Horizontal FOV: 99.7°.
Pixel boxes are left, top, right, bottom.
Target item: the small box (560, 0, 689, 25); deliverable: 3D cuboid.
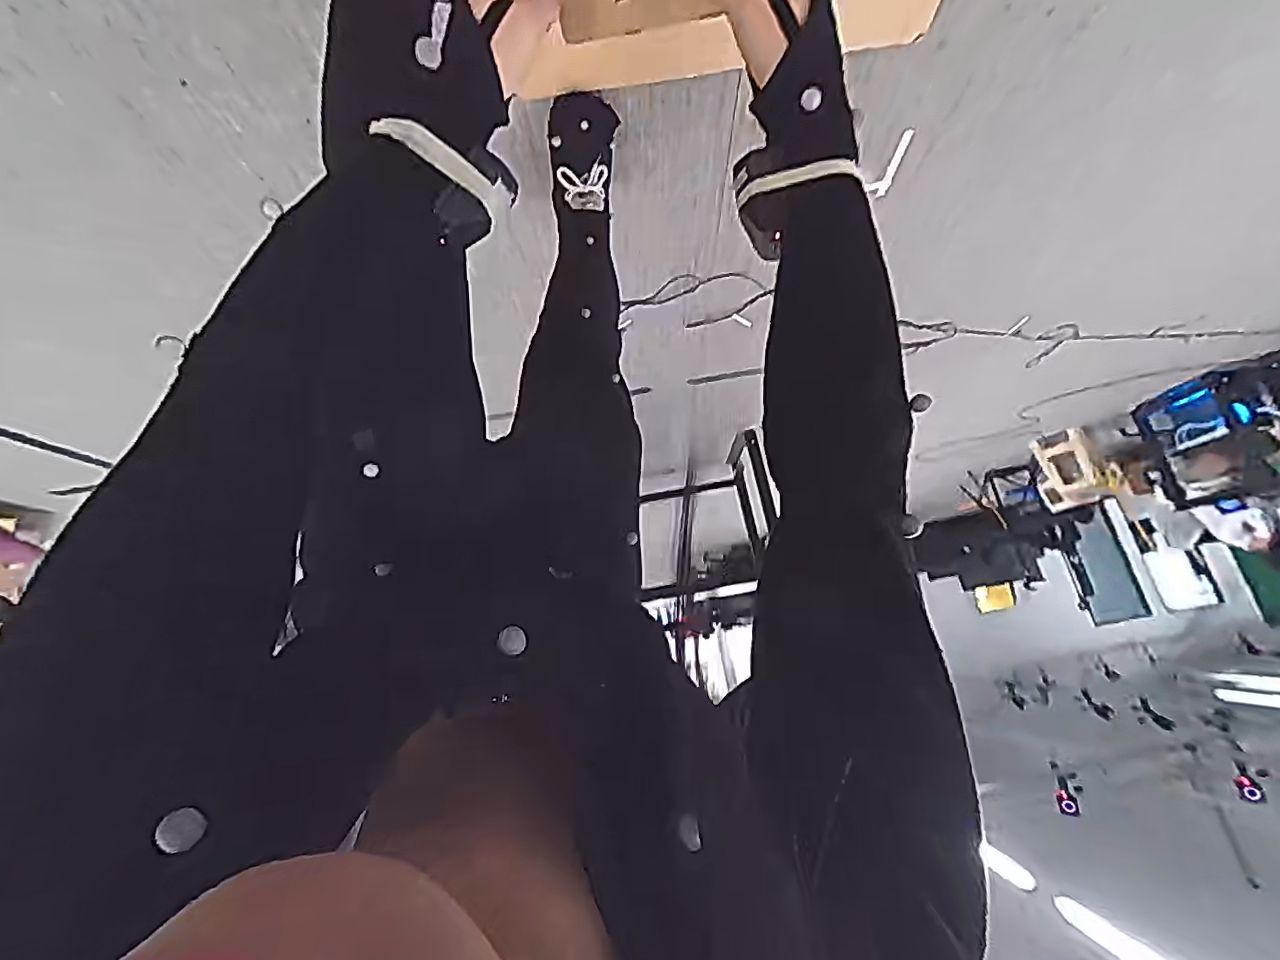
[{"bbox_3d":[0.005,-0.456,0.344,0.168,0.176,0.179,-6,166,7],"label":"small box"}]
